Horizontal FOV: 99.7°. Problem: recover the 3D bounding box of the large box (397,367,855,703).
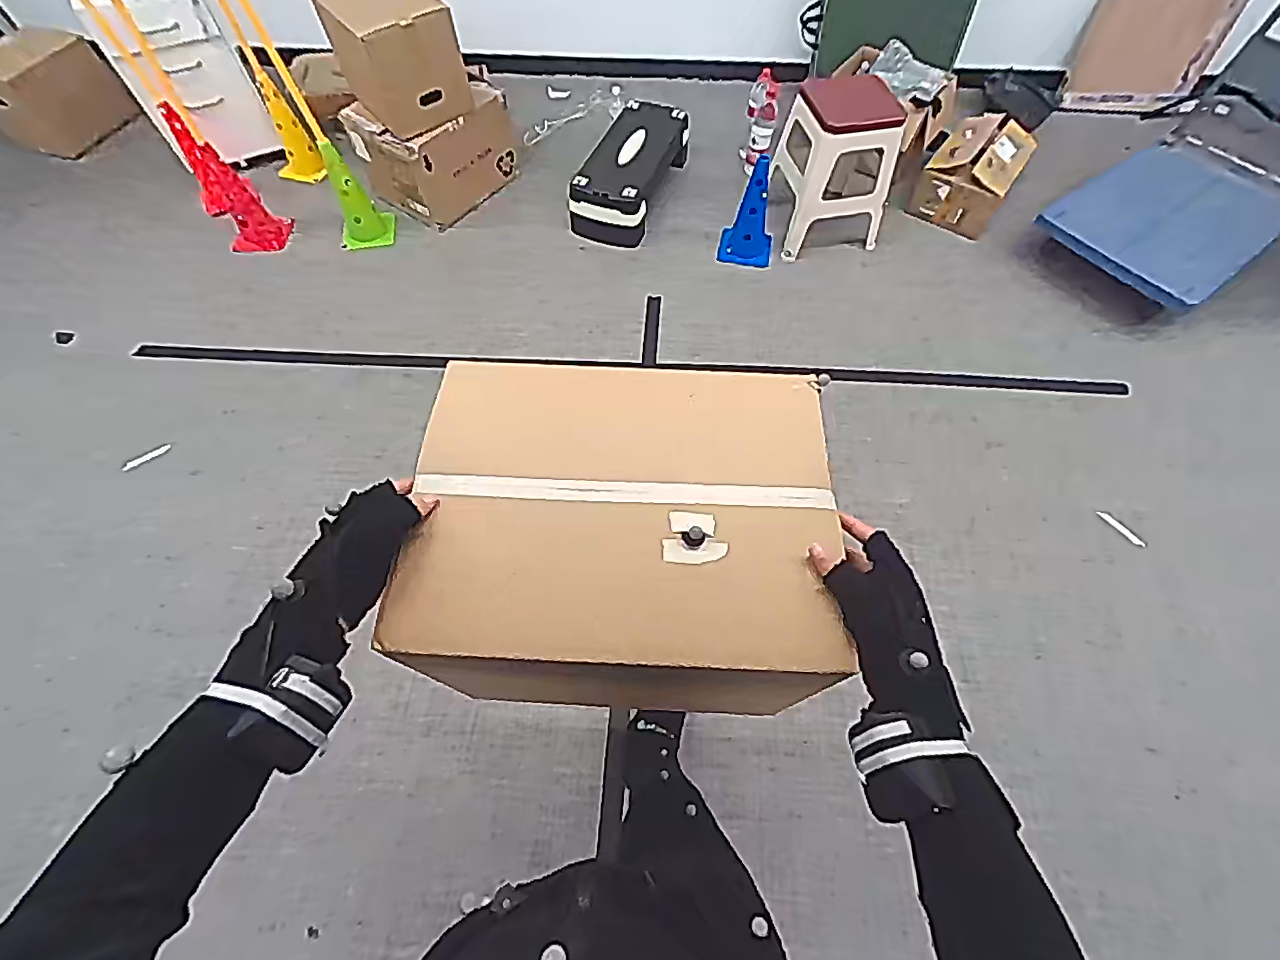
[{"bbox_3d":[-0.012,0.086,0.664,0.408,0.320,0.320,3,61,0],"label":"large box"}]
